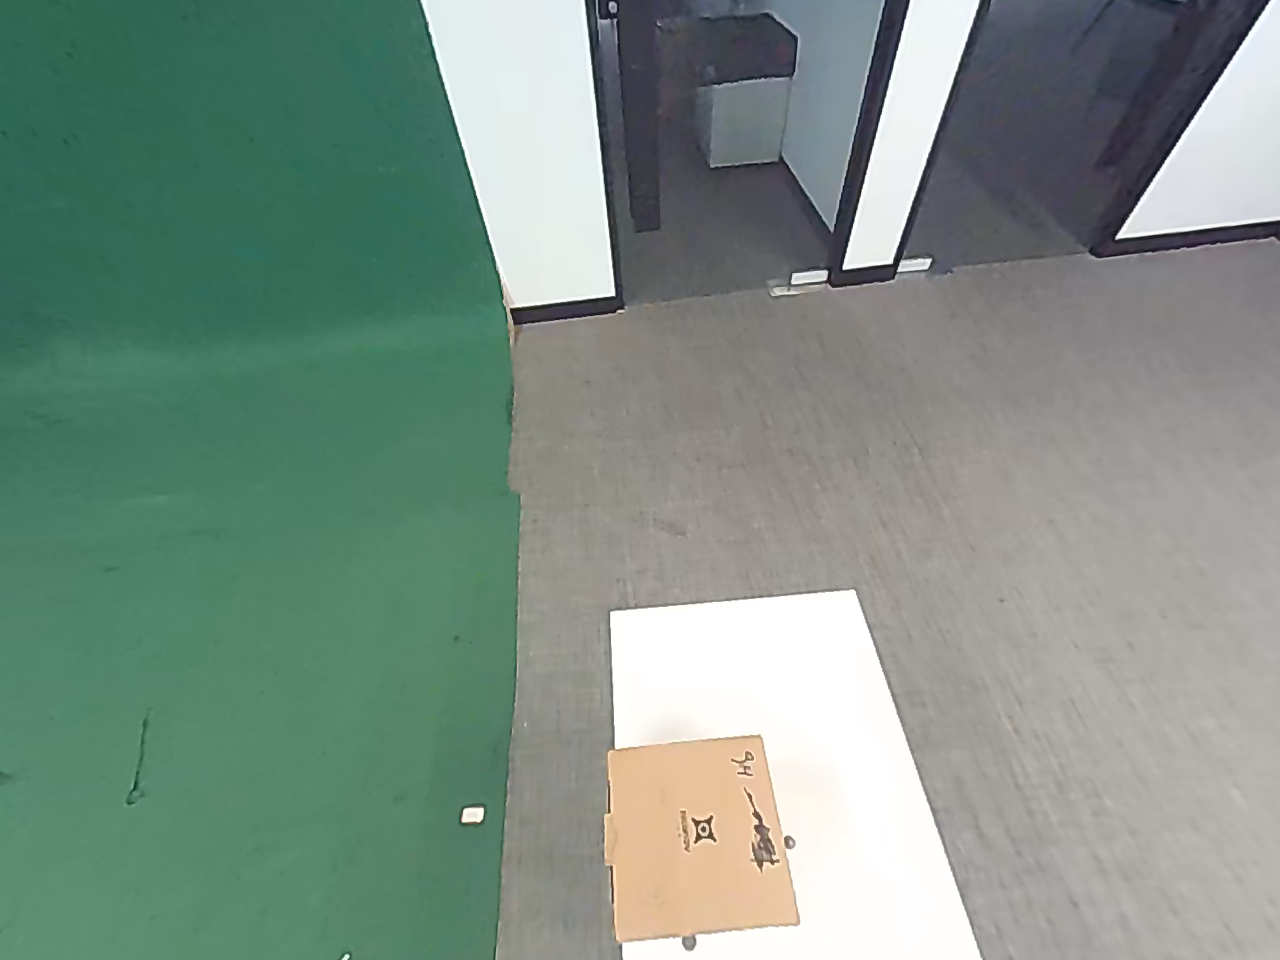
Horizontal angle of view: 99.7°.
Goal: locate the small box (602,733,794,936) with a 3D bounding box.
[{"bbox_3d":[0.056,0.398,0.607,0.179,0.176,0.168,-5,52,-1],"label":"small box"}]
